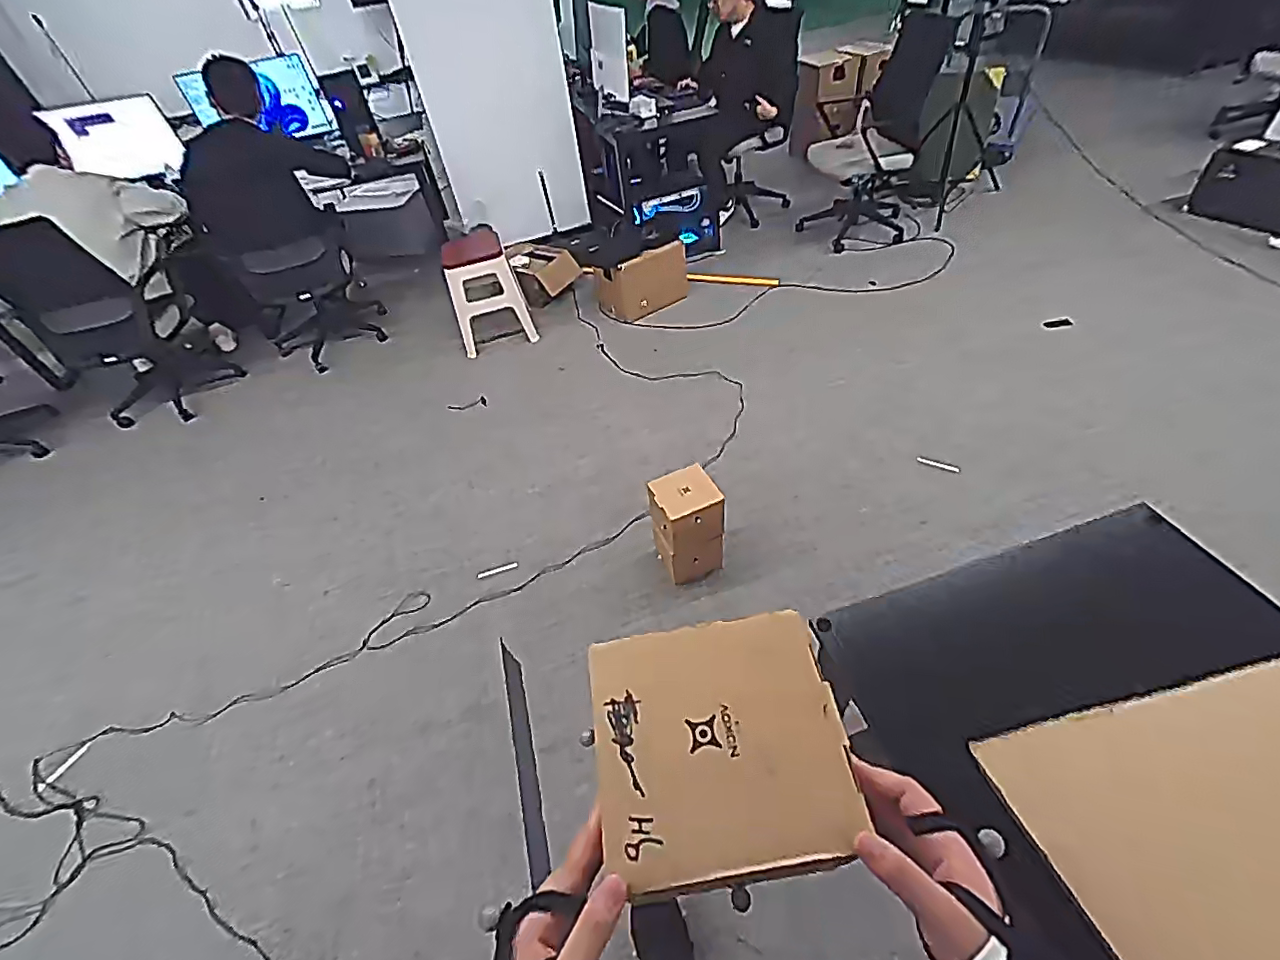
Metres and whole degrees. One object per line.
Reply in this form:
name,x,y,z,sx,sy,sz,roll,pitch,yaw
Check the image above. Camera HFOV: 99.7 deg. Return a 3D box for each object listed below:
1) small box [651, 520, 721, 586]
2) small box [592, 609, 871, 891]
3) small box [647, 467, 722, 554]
small box,0.150,0.211,1.751,0.179,0.176,0.168,-20,47,-10
small box,0.060,0.231,0.457,0.179,0.176,0.168,-9,49,-1
small box,0.137,0.097,1.636,0.179,0.176,0.168,-21,47,-12
